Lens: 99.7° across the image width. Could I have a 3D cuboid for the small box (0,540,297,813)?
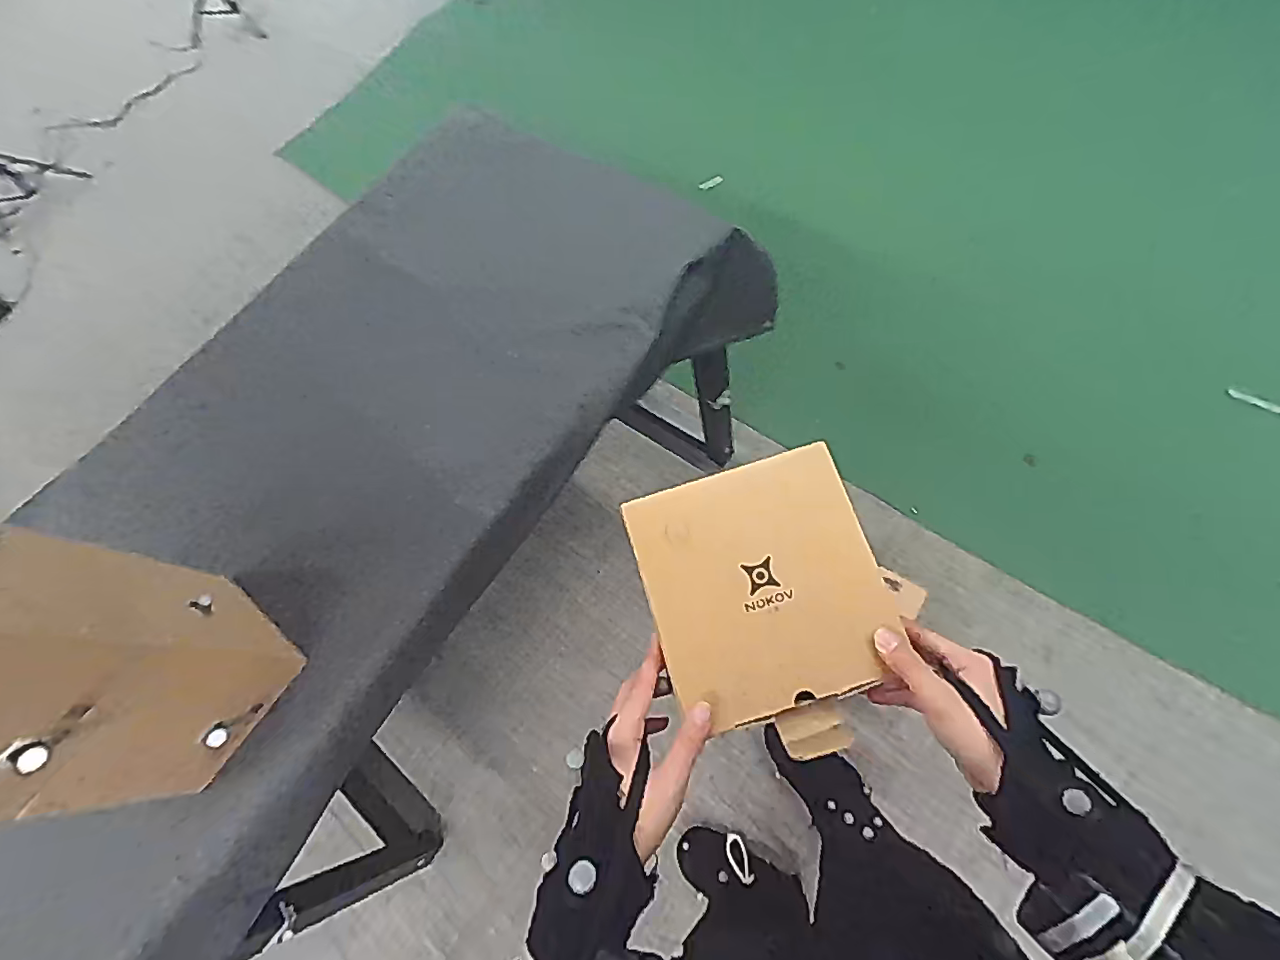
[{"bbox_3d":[-0.507,0.192,0.547,0.179,0.176,0.168,31,77,20],"label":"small box"}]
